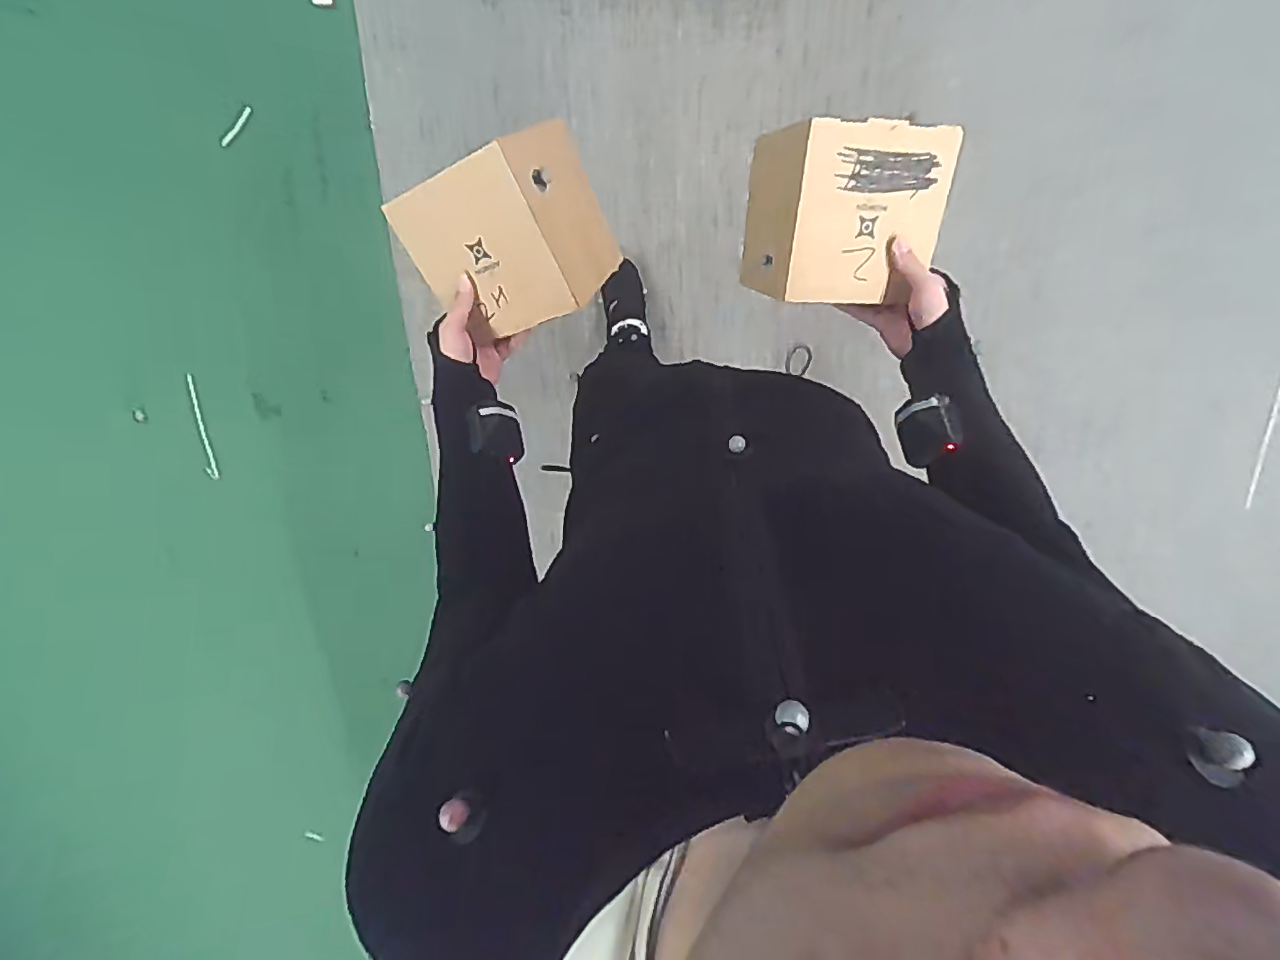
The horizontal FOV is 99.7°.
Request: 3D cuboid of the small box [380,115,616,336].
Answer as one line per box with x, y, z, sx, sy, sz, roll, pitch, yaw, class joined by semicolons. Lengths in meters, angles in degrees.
-0.151;-0.301;0.637;0.168;0.176;0.179;-9;125;27;small box
